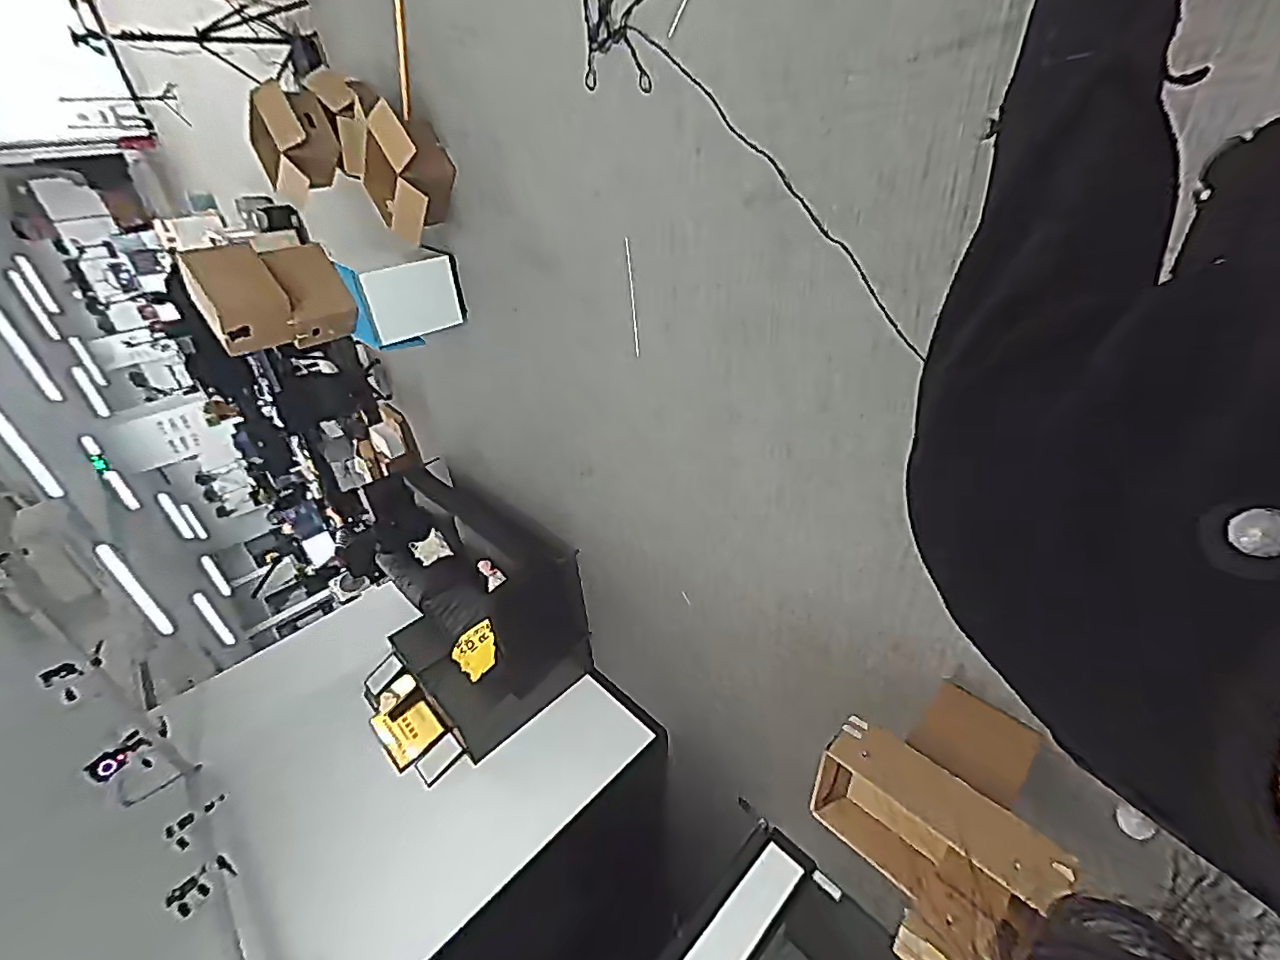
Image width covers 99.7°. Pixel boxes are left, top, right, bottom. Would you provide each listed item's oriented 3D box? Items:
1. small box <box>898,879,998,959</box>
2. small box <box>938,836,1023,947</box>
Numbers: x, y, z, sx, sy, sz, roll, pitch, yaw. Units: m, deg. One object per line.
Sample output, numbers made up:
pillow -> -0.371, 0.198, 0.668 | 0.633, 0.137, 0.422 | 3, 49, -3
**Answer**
small box -> 0.809, 1.207, 1.419 | 0.168, 0.176, 0.179 | 26, 133, 42
small box -> 0.935, 1.154, 1.510 | 0.168, 0.176, 0.179 | 25, 132, 41
